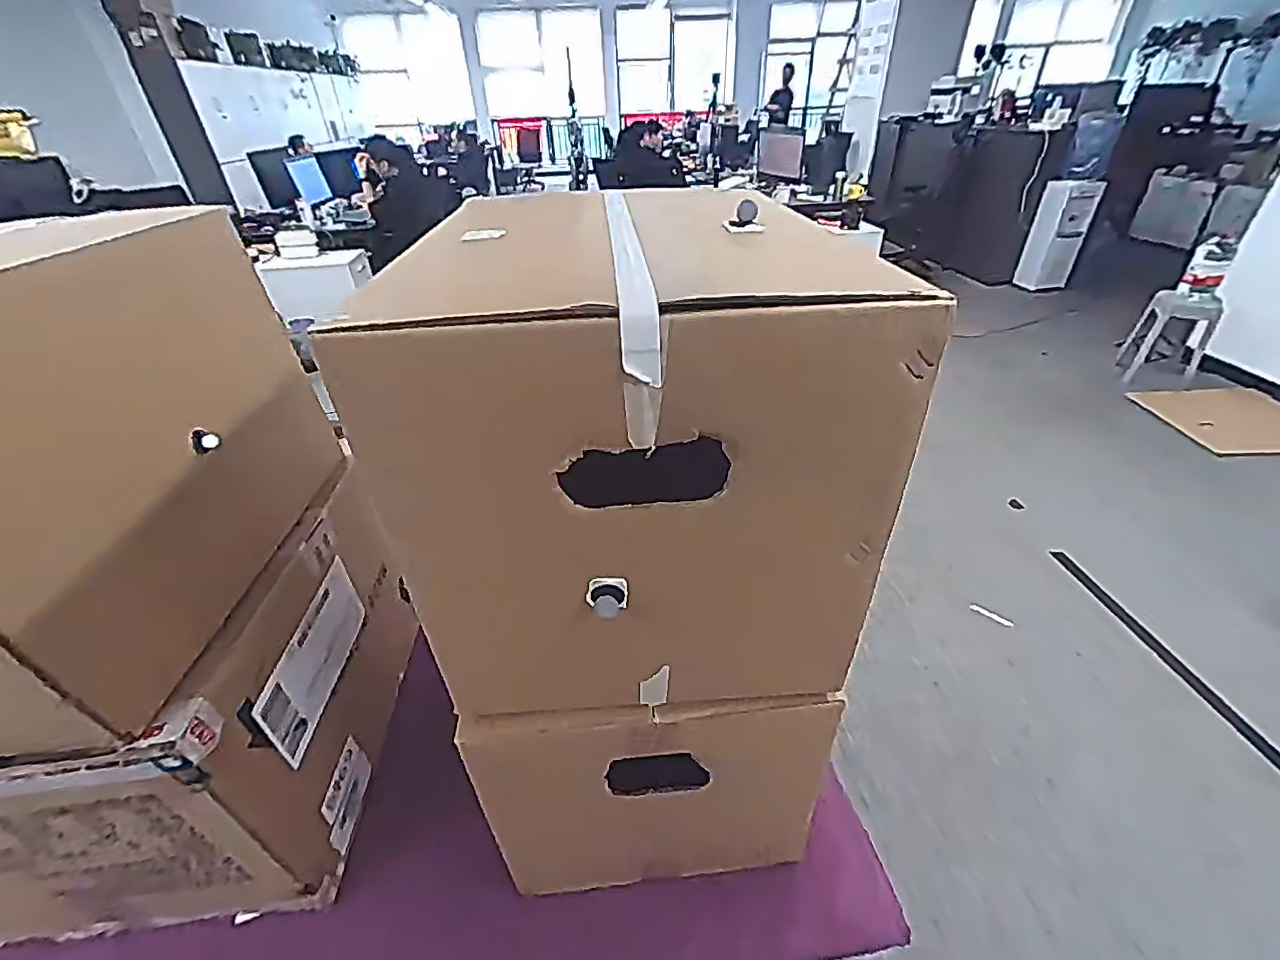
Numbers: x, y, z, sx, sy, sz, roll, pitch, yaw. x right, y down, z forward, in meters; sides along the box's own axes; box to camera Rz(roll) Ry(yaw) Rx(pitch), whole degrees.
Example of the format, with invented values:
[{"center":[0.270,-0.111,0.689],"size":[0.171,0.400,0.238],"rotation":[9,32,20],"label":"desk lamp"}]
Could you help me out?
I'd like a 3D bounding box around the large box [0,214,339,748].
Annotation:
[{"center":[-0.550,-0.025,0.490],"size":[0.320,0.320,0.408],"rotation":[-7,36,0],"label":"large box"}]
